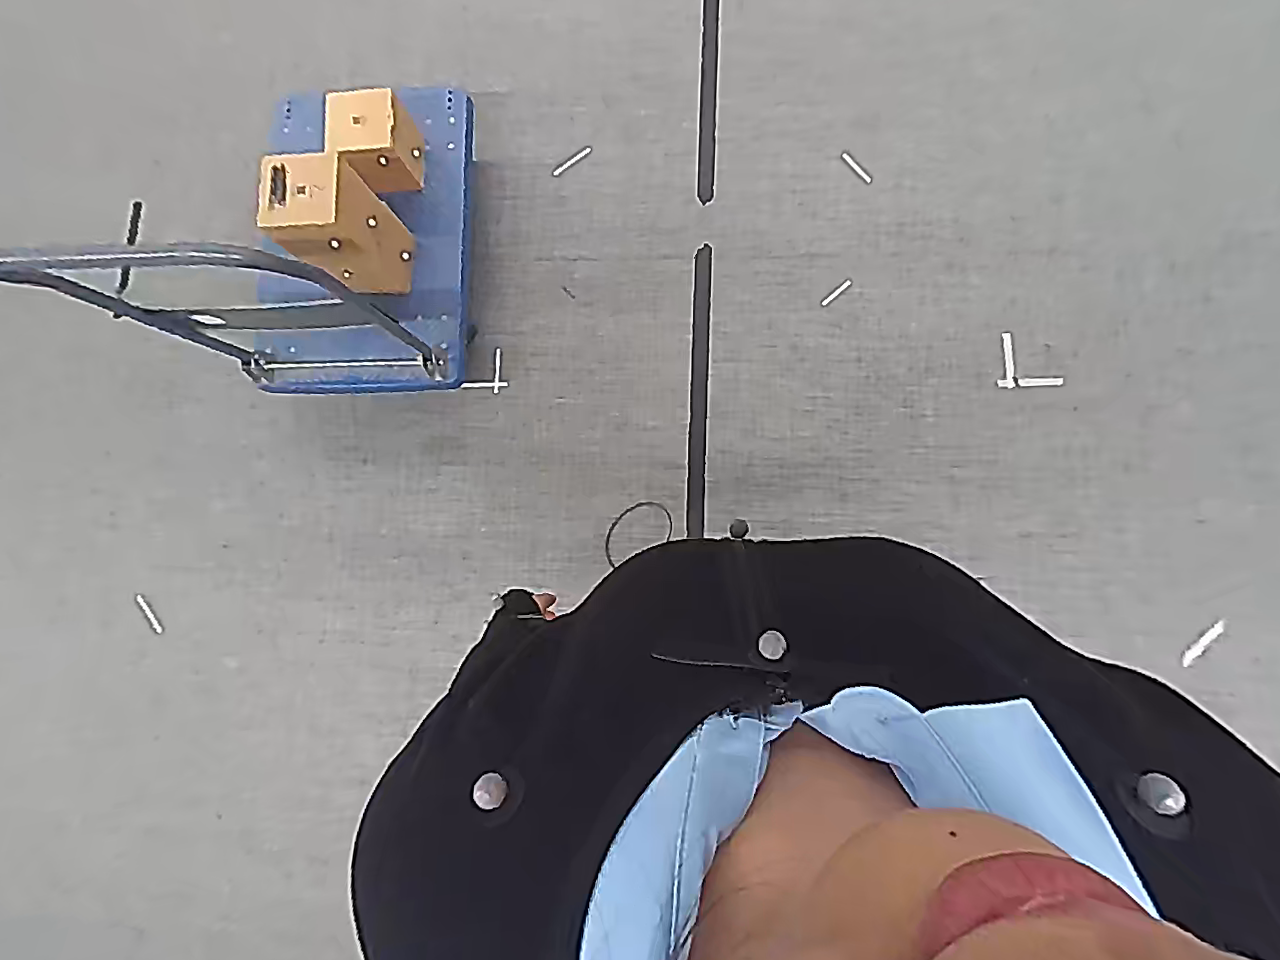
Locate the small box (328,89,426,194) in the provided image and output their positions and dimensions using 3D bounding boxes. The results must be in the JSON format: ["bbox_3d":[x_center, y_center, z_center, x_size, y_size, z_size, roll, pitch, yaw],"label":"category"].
[{"bbox_3d":[-0.690,-0.885,1.429,0.179,0.176,0.168,-3,83,3],"label":"small box"}]

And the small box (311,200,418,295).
[{"bbox_3d":[-0.704,-0.592,1.393,0.179,0.176,0.168,3,84,4],"label":"small box"}]
